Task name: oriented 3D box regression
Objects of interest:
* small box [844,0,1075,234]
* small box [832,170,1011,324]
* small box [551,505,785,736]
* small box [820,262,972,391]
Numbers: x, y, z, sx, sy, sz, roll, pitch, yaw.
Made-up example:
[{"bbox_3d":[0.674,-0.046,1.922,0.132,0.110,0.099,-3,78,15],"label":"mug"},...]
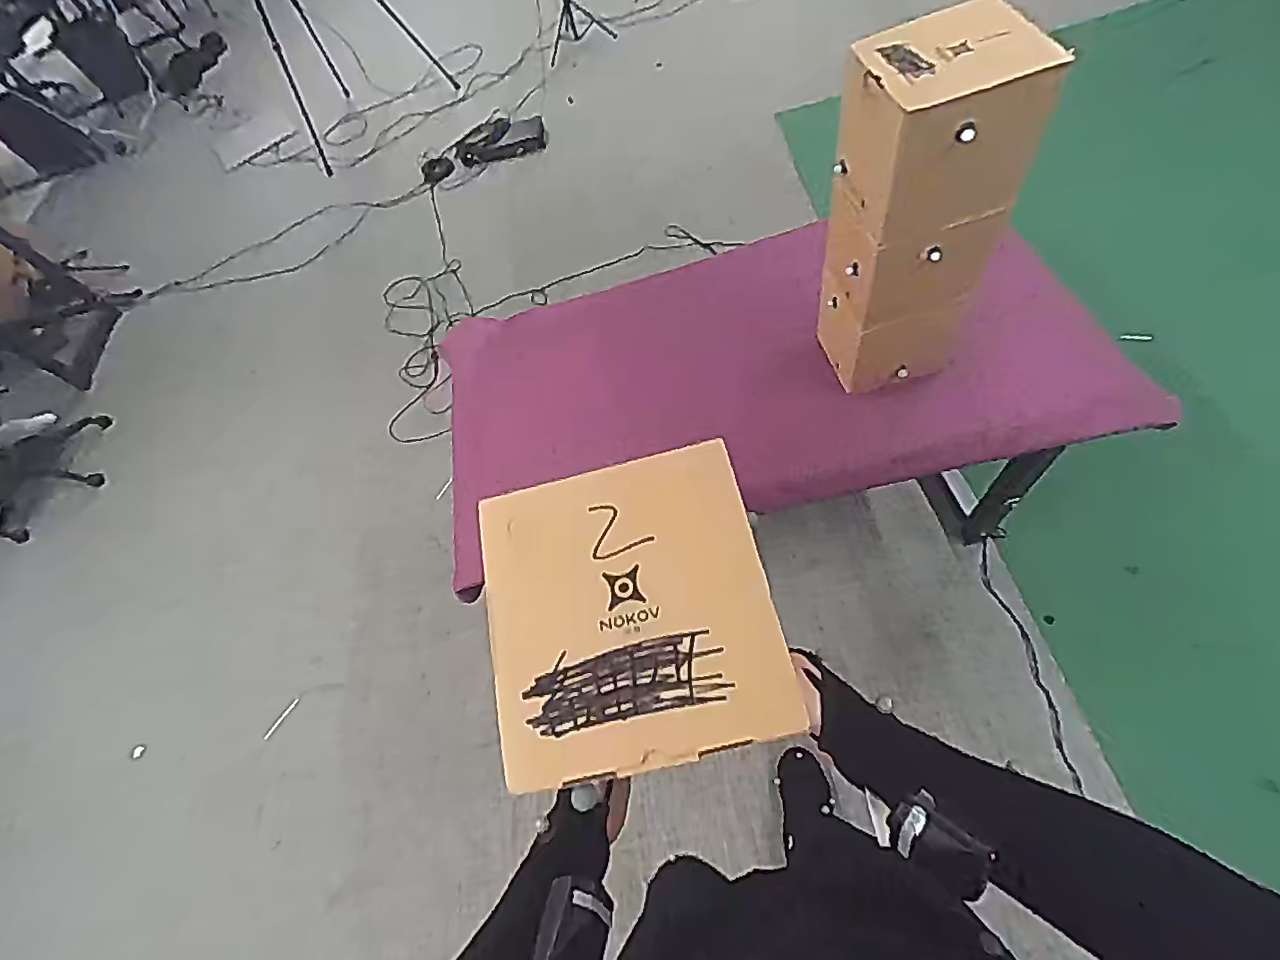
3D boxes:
[{"bbox_3d":[0.364,-0.438,0.665,0.179,0.176,0.168,-15,61,6],"label":"small box"},{"bbox_3d":[0.397,-0.361,0.806,0.179,0.176,0.168,-15,61,6],"label":"small box"},{"bbox_3d":[0.029,0.144,0.545,0.179,0.176,0.168,-16,67,3],"label":"small box"},{"bbox_3d":[0.432,-0.284,0.946,0.179,0.176,0.168,-16,60,5],"label":"small box"}]
